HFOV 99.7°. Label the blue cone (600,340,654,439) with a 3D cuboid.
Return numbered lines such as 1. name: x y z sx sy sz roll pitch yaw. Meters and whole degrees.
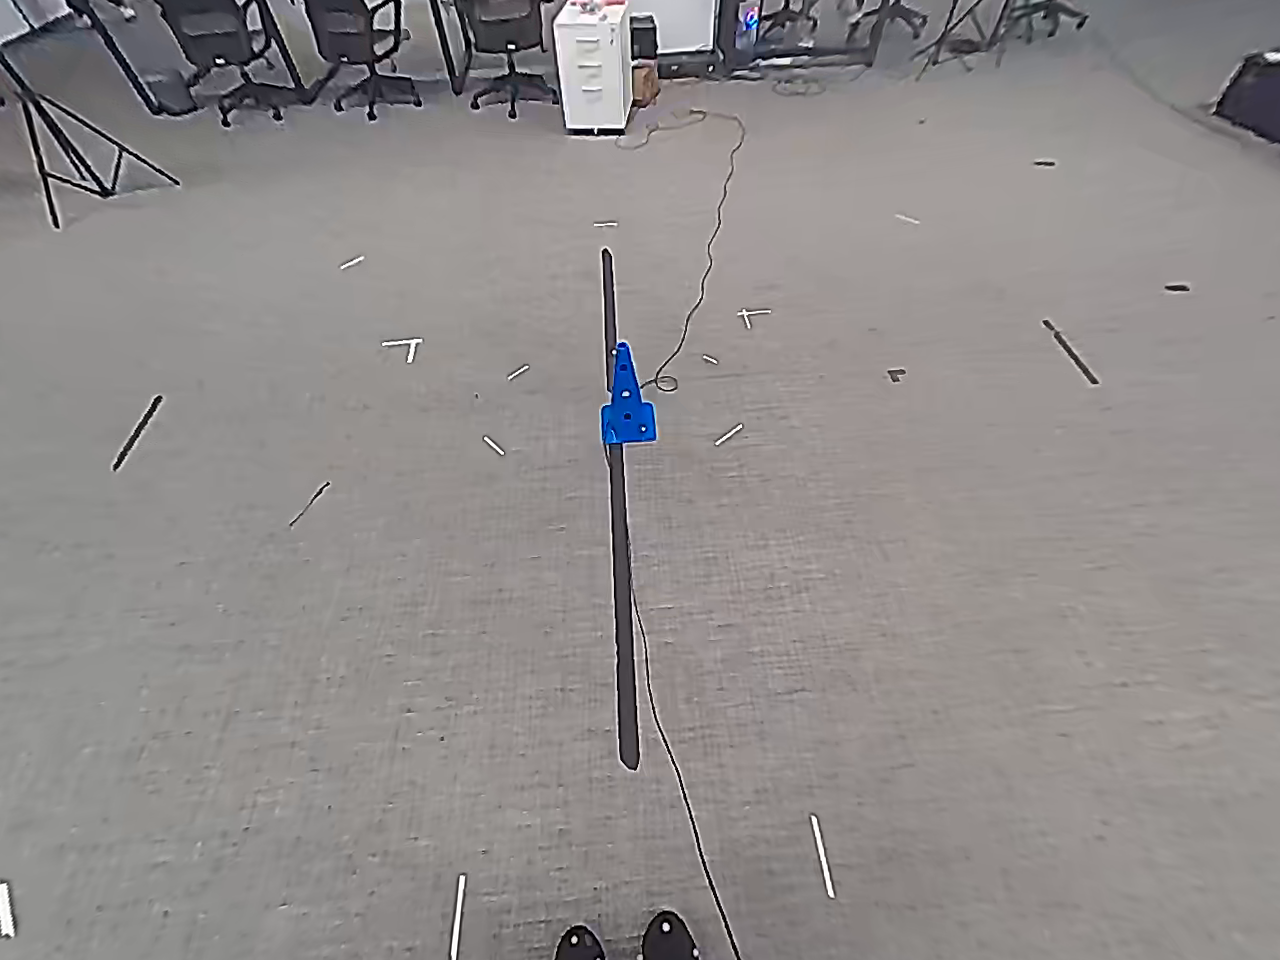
1. blue cone: -0.055 -0.328 1.875 0.193 0.380 0.192 -5 51 -2
